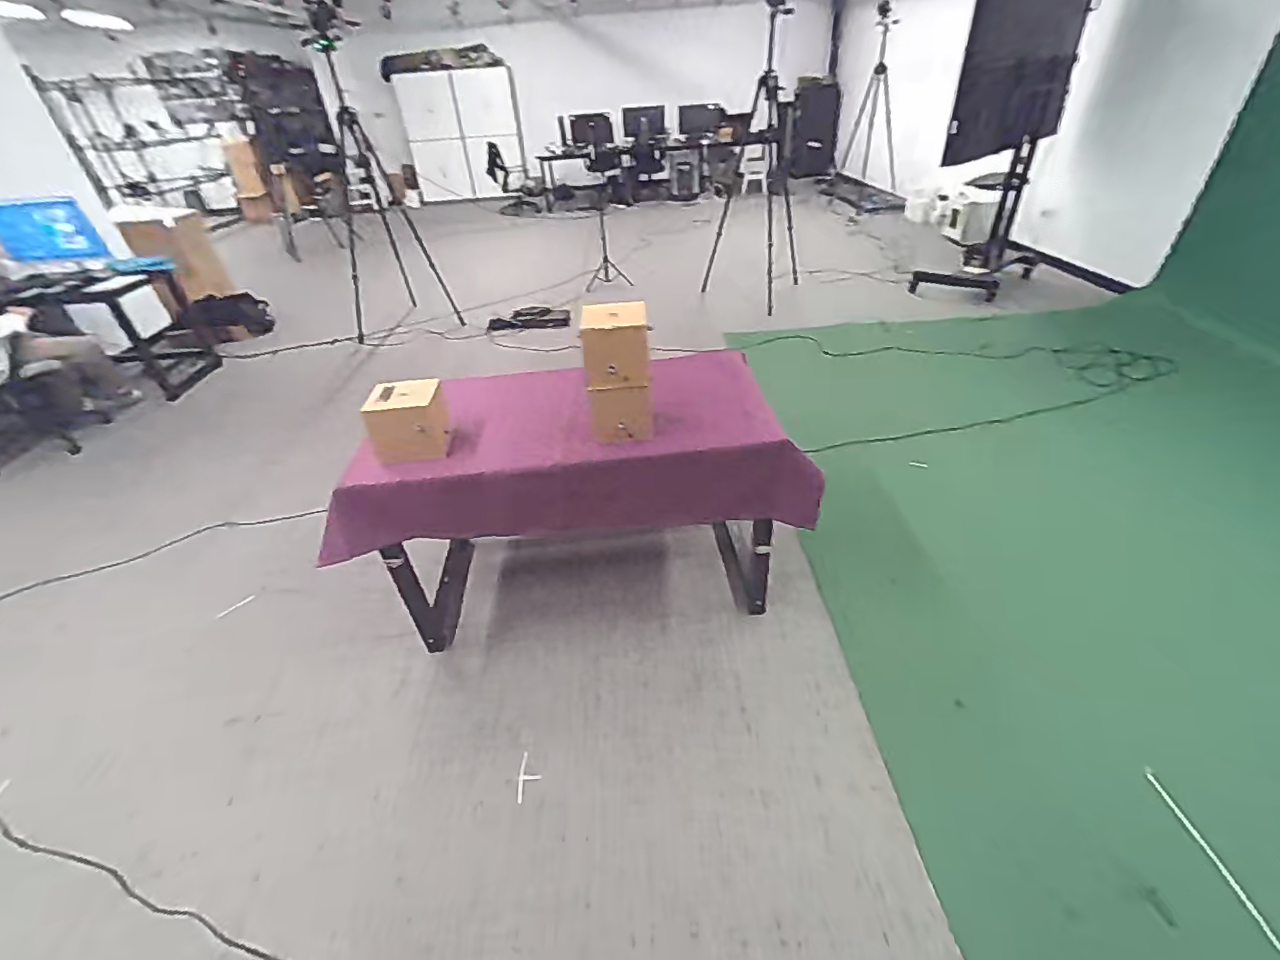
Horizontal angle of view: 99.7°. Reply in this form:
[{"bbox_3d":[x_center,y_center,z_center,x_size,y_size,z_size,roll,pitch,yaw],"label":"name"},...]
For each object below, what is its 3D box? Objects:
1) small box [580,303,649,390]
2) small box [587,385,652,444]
[{"bbox_3d":[-0.063,-0.350,1.418,0.168,0.176,0.179,-4,37,0],"label":"small box"},{"bbox_3d":[-0.055,-0.218,1.514,0.168,0.176,0.179,-5,36,1],"label":"small box"}]
